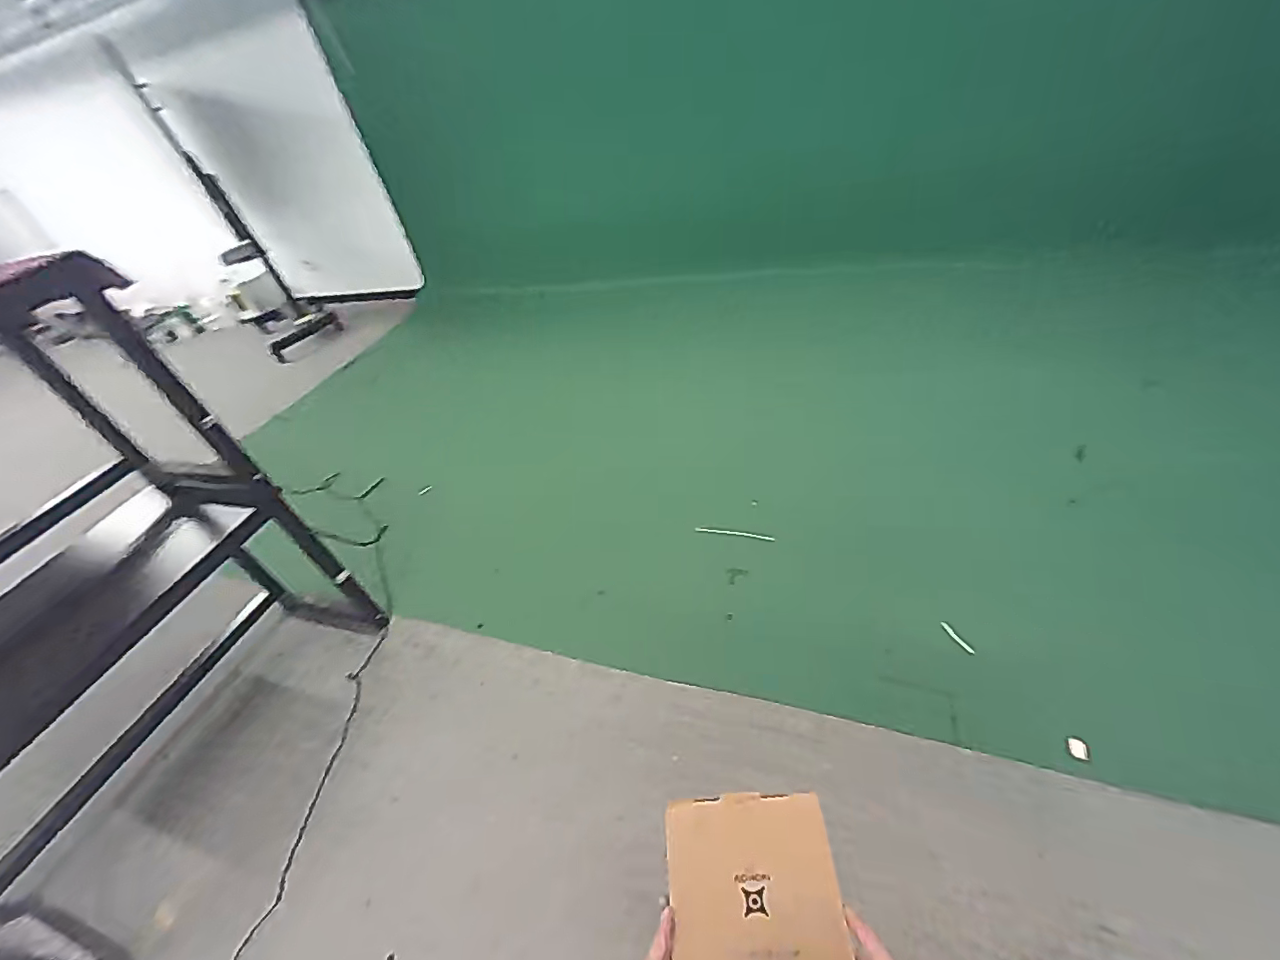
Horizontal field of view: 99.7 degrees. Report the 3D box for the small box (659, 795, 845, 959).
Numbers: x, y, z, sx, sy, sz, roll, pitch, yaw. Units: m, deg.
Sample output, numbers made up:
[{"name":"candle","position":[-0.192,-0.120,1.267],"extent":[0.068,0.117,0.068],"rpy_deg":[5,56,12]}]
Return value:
[{"name":"small box","position":[0.109,0.461,0.576],"extent":[0.168,0.176,0.179],"rpy_deg":[-6,44,3]}]
